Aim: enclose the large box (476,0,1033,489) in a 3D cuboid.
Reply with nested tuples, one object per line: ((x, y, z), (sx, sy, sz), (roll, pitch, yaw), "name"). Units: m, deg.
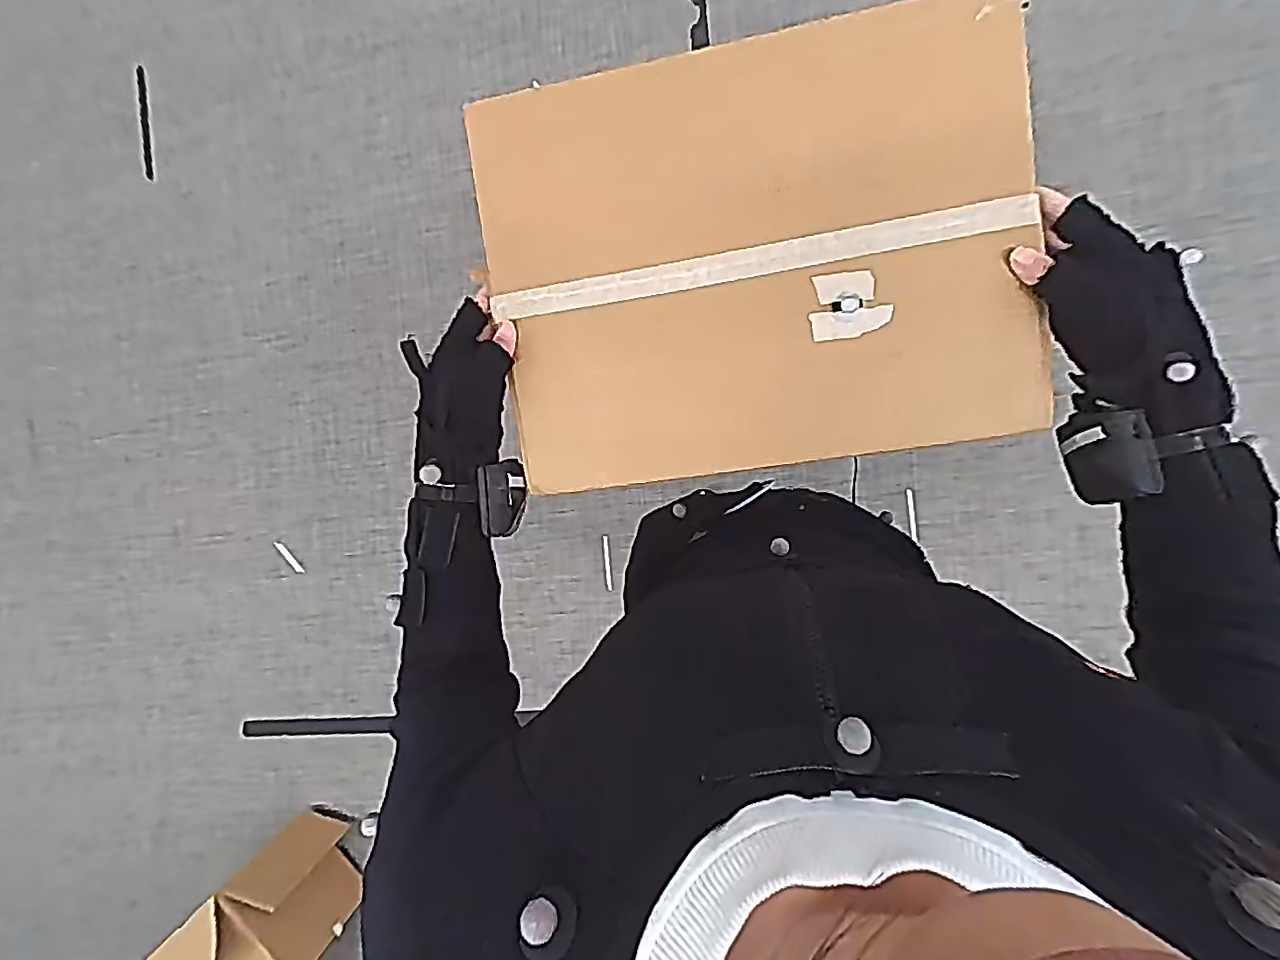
((0.098, -0.186, 0.571), (0.408, 0.320, 0.320), (-8, 96, 7), "large box")
